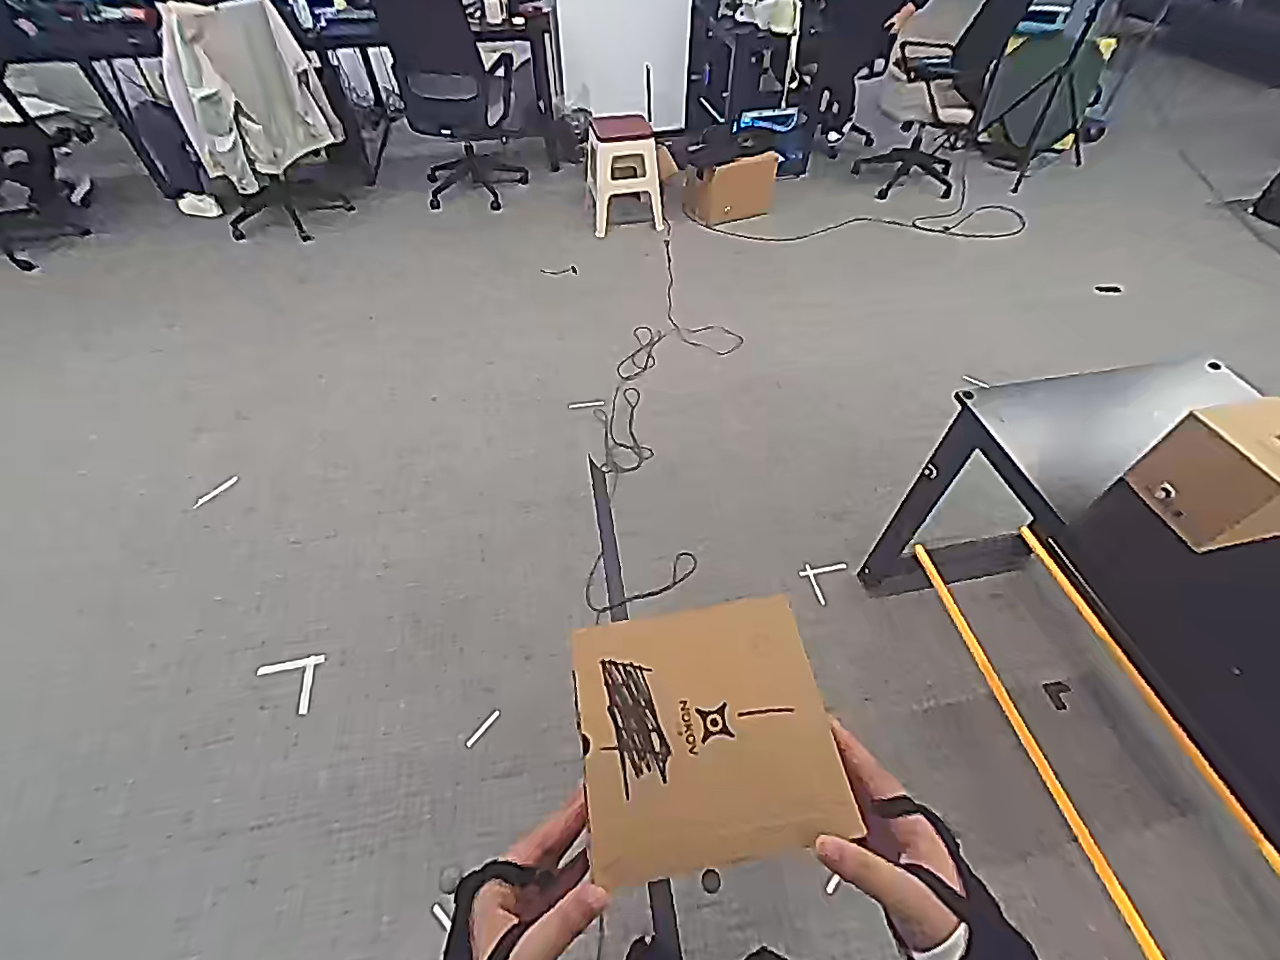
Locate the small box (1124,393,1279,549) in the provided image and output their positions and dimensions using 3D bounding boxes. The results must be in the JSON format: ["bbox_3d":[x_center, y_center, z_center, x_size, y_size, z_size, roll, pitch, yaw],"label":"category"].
[{"bbox_3d":[0.954,-0.012,0.867,0.179,0.176,0.168,-11,50,-7],"label":"small box"}]

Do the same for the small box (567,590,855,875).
[{"bbox_3d":[0.043,0.212,0.448,0.179,0.176,0.168,-9,56,-5],"label":"small box"}]
